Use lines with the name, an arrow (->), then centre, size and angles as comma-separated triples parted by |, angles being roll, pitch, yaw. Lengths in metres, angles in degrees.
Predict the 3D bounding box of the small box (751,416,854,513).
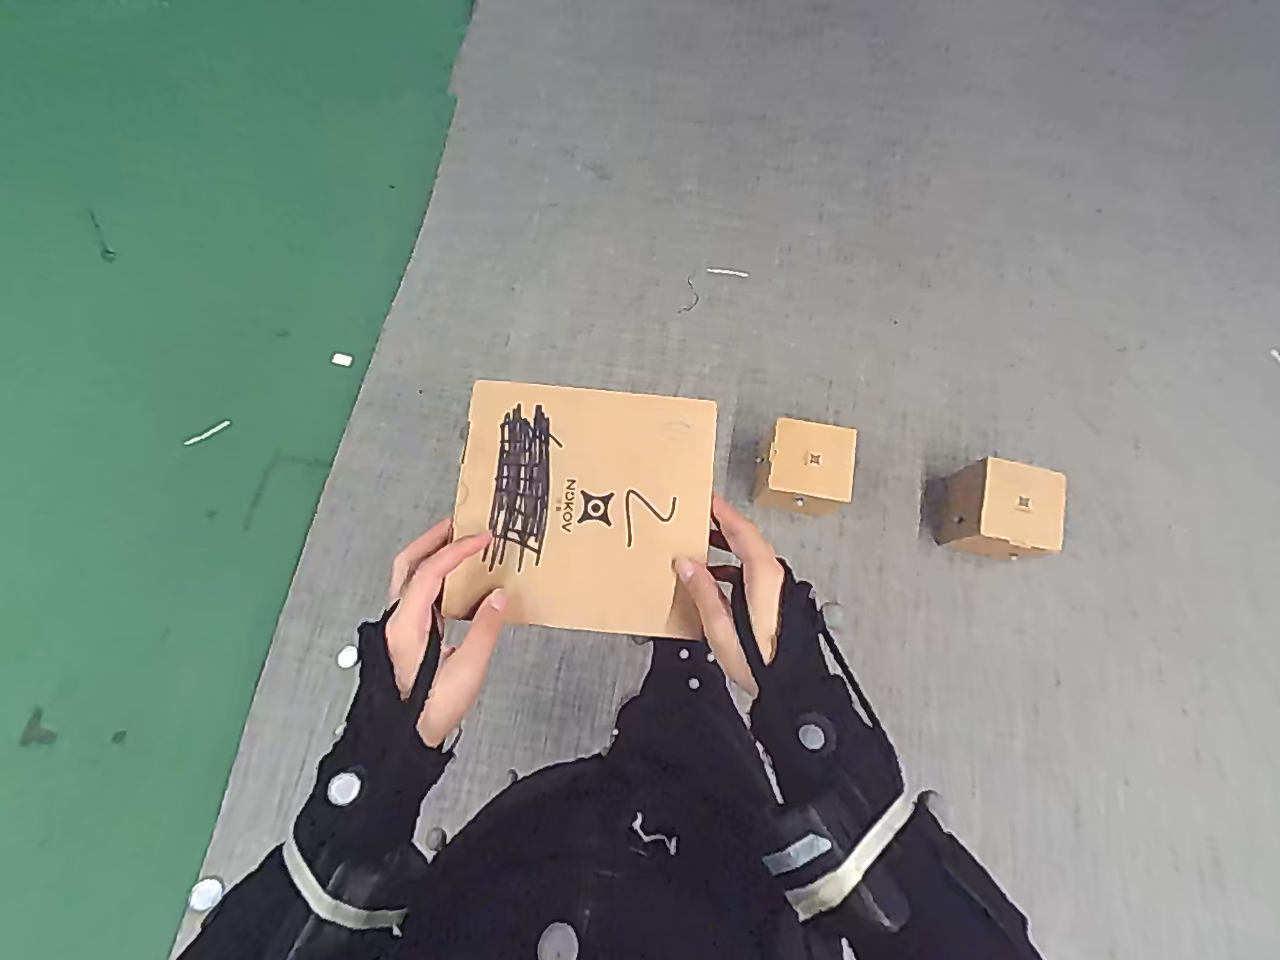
small box -> 0.361, -0.028, 1.220 | 0.179, 0.176, 0.168 | 10, 75, 4

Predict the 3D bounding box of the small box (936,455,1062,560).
small box -> 0.780, 0.068, 1.190 | 0.168, 0.176, 0.179 | 14, 75, 3
